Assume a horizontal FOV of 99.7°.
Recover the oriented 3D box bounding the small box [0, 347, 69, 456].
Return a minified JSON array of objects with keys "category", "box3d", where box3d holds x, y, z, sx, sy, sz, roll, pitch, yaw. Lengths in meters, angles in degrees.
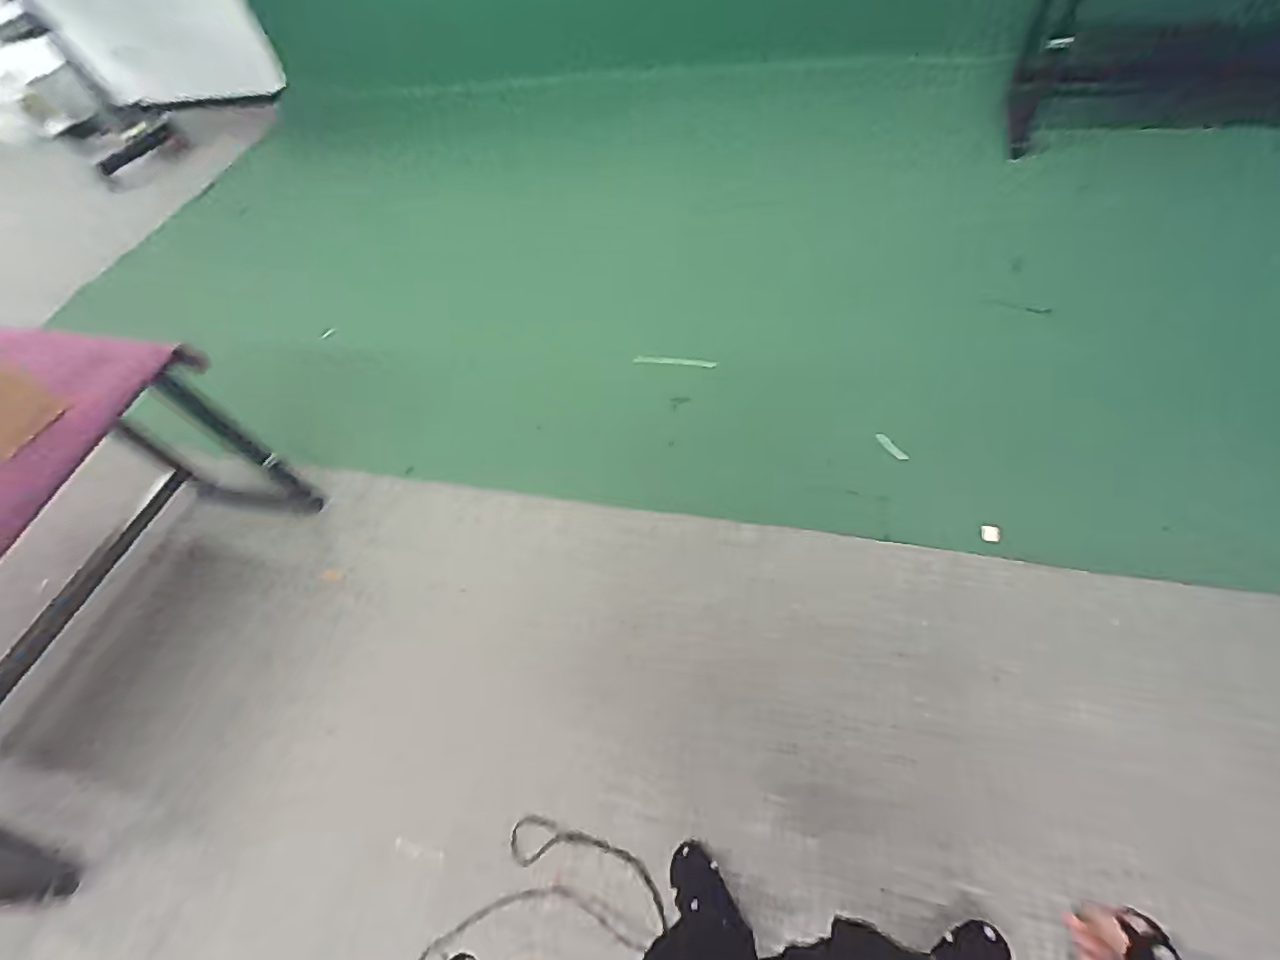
[{"category":"small box","box3d":[-1.395,-0.181,1.154,0.168,0.176,0.179,16,63,20]}]
